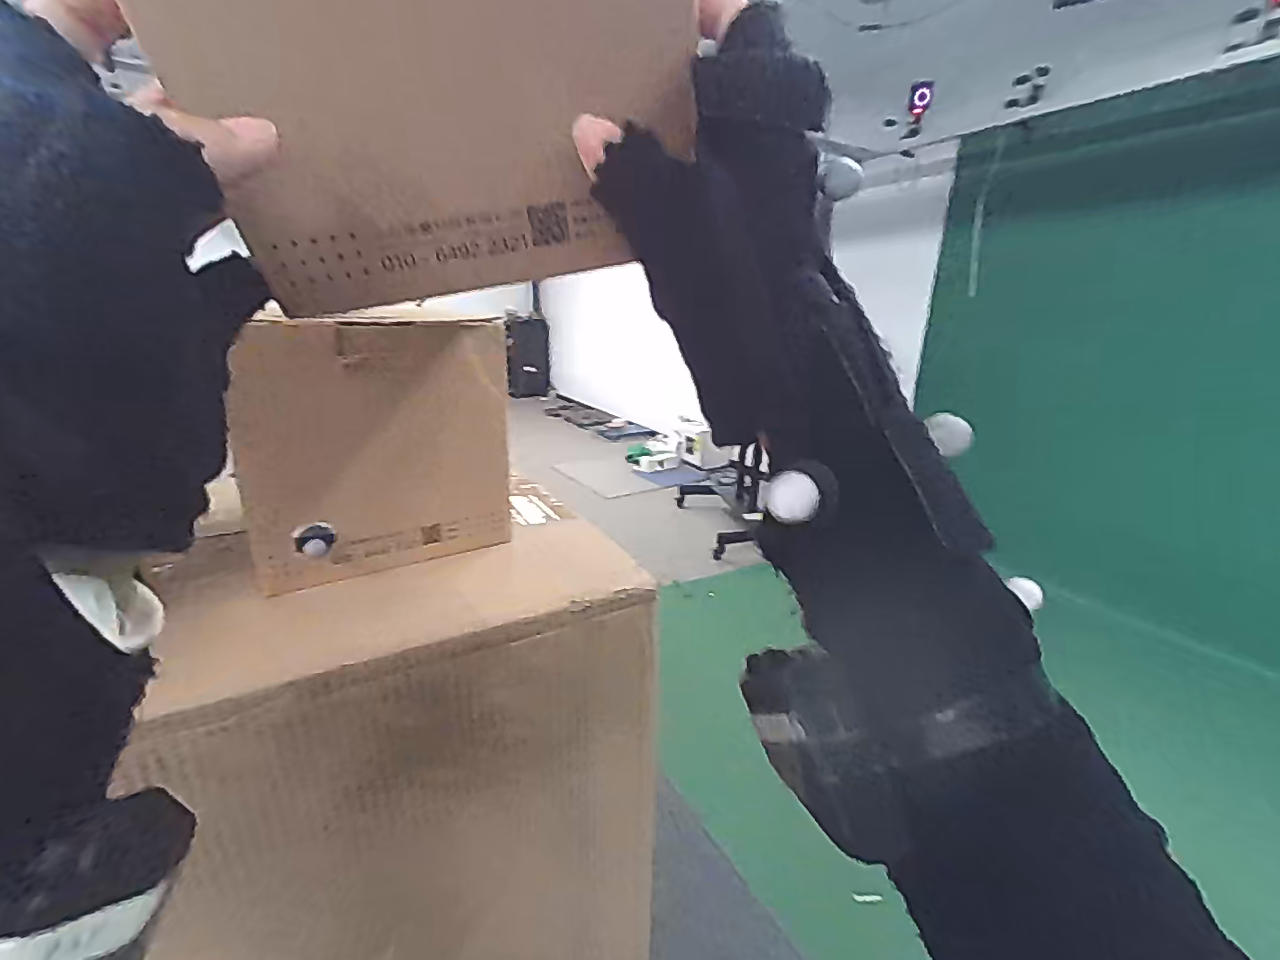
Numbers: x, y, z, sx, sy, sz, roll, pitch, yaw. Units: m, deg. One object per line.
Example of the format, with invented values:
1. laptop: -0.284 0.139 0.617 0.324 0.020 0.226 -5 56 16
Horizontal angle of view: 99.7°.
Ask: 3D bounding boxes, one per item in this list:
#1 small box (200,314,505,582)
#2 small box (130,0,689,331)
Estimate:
1. small box: -0.214 -0.037 0.420 0.168 0.176 0.179 -12 22 -33
2. small box: -0.083 -0.183 0.227 0.168 0.176 0.179 -14 42 -8
